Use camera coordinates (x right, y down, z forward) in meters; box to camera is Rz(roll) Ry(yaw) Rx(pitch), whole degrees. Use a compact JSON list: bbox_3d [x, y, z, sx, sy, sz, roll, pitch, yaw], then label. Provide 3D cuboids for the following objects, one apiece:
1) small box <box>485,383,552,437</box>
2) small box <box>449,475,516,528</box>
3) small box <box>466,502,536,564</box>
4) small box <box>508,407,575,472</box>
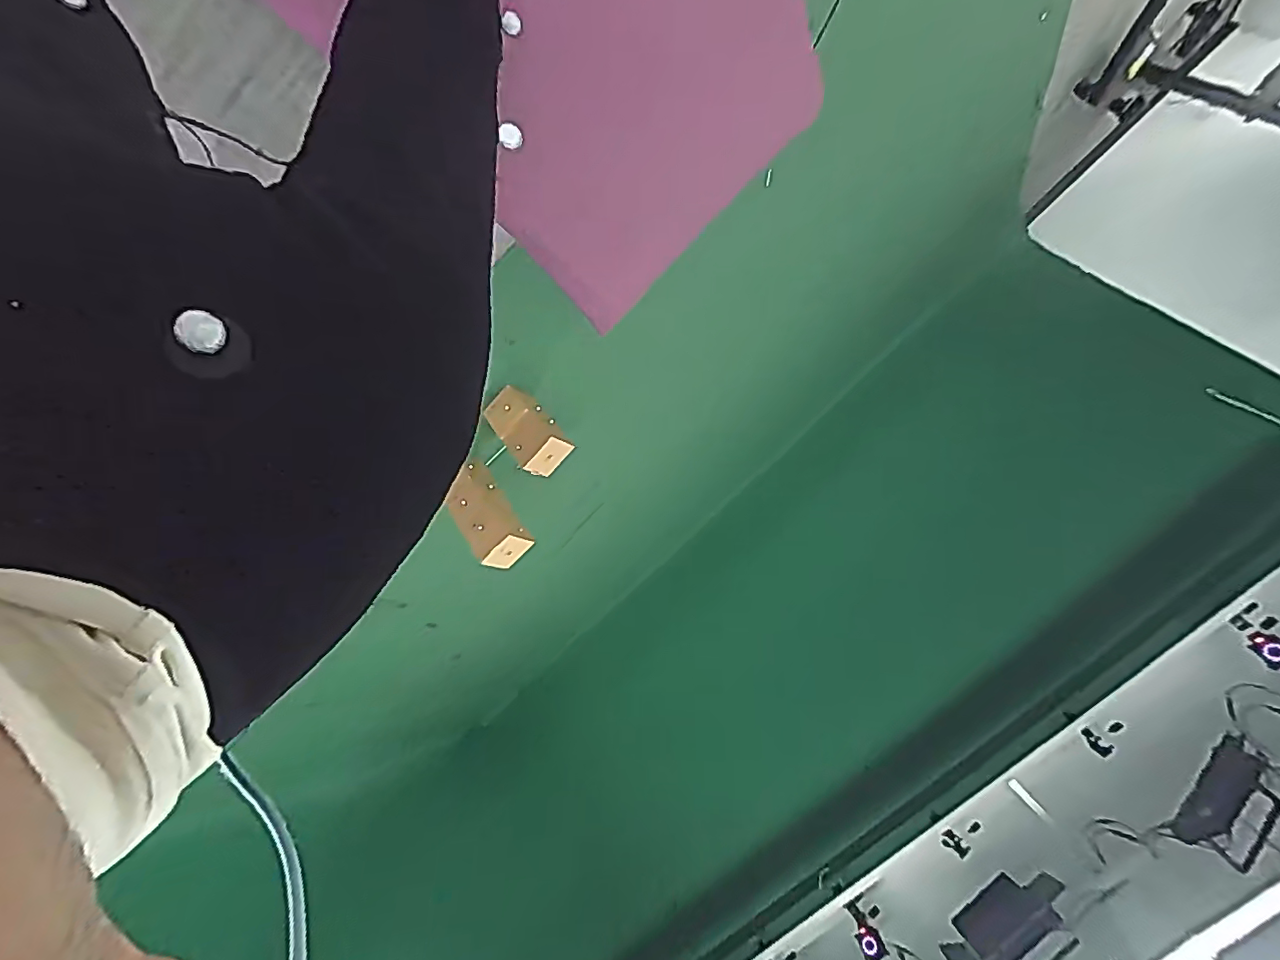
[{"bbox_3d":[-0.502,-0.276,2.225,0.168,0.176,0.179,-46,153,11],"label":"small box"},{"bbox_3d":[-0.654,0.099,2.236,0.168,0.176,0.179,-43,151,9],"label":"small box"},{"bbox_3d":[-0.557,0.211,2.161,0.168,0.176,0.179,-44,152,7],"label":"small box"},{"bbox_3d":[-0.402,-0.161,2.166,0.179,0.176,0.168,-46,153,11],"label":"small box"}]
